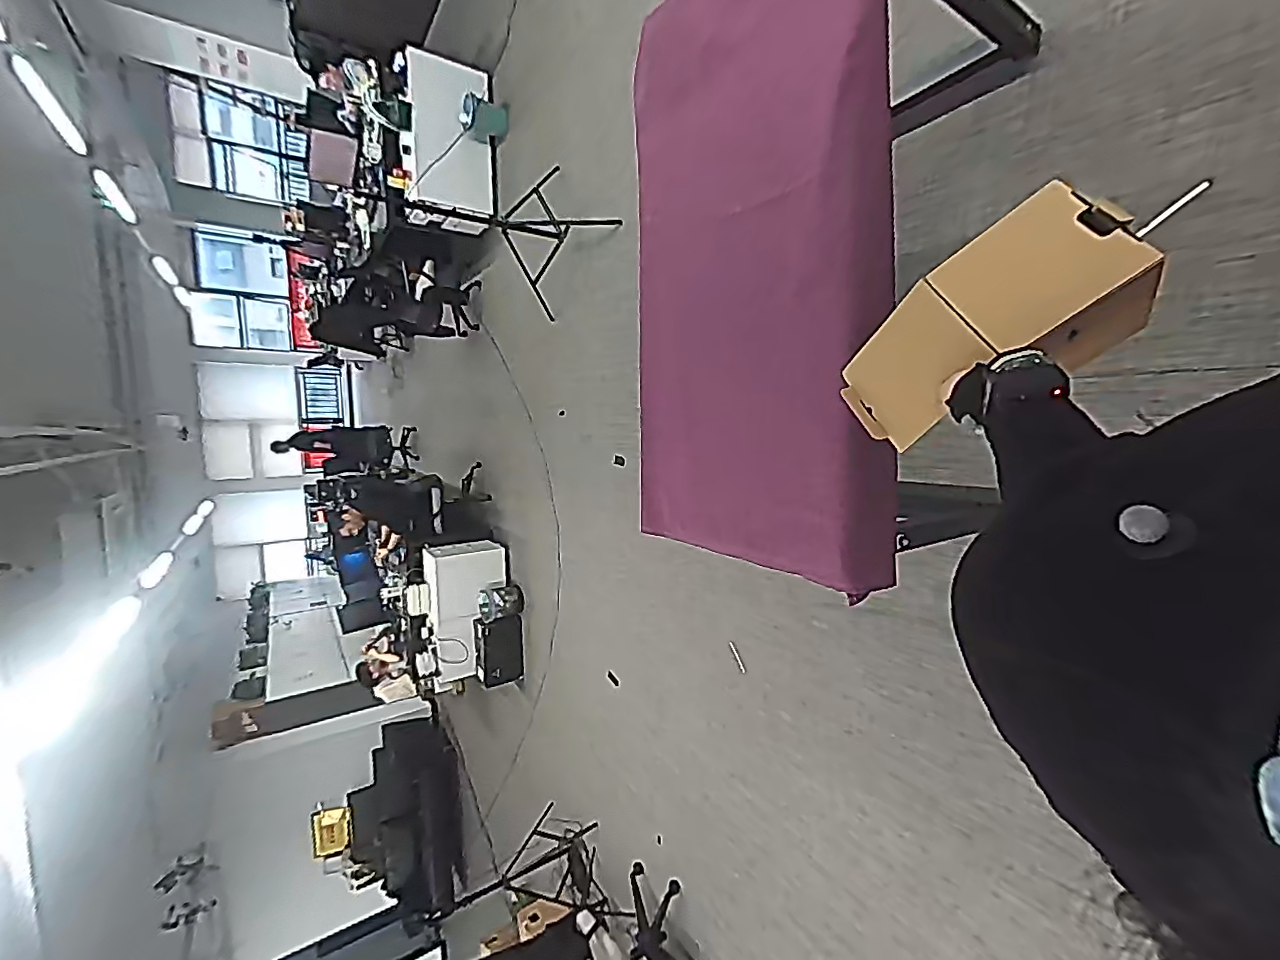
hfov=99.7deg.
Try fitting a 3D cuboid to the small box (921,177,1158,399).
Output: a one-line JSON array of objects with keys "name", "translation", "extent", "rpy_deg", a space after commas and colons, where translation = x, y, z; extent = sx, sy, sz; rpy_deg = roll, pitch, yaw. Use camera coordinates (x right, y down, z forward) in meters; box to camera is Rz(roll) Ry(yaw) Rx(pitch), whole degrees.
[{"name": "small box", "translation": [0.507, -0.233, 0.700], "extent": [0.179, 0.176, 0.168], "rpy_deg": [-37, 57, 24]}]
